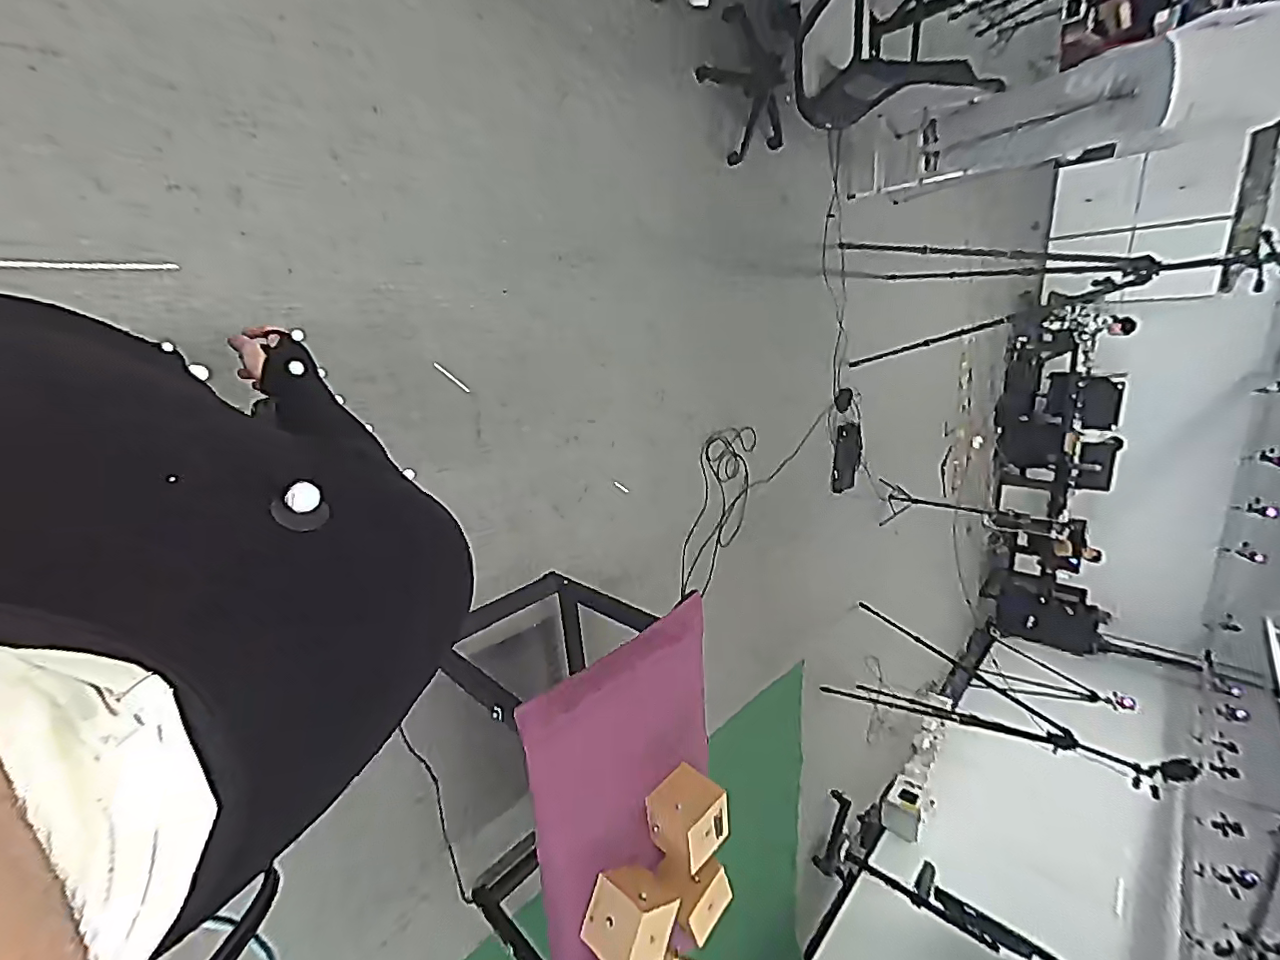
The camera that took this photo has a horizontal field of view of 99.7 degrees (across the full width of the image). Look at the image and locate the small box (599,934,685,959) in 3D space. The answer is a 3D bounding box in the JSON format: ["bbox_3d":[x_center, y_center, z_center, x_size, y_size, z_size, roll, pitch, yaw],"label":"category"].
[{"bbox_3d":[0.004,1.433,1.592,0.168,0.176,0.179,-54,131,-25],"label":"small box"}]

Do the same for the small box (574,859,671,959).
[{"bbox_3d":[-0.050,1.180,1.476,0.179,0.176,0.168,30,77,-47],"label":"small box"}]

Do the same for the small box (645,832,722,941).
[{"bbox_3d":[0.127,1.259,1.687,0.179,0.176,0.168,-36,123,-36],"label":"small box"}]
